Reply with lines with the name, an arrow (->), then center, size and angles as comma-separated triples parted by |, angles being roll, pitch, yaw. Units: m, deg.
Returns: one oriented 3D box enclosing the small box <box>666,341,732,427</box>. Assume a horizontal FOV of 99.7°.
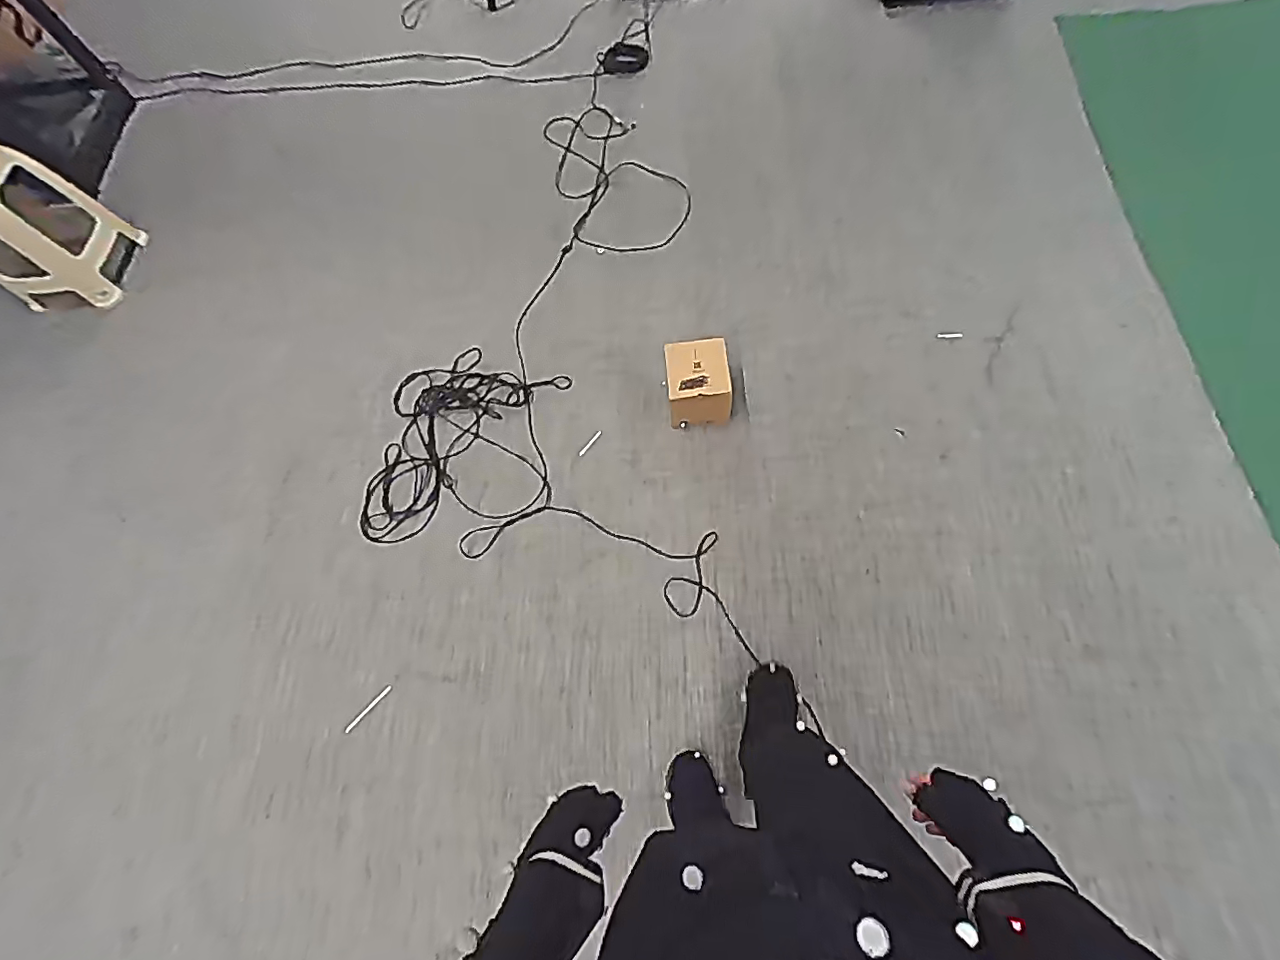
small box -> 0.162, -0.257, 1.500 | 0.168, 0.176, 0.179 | -5, 67, 4
